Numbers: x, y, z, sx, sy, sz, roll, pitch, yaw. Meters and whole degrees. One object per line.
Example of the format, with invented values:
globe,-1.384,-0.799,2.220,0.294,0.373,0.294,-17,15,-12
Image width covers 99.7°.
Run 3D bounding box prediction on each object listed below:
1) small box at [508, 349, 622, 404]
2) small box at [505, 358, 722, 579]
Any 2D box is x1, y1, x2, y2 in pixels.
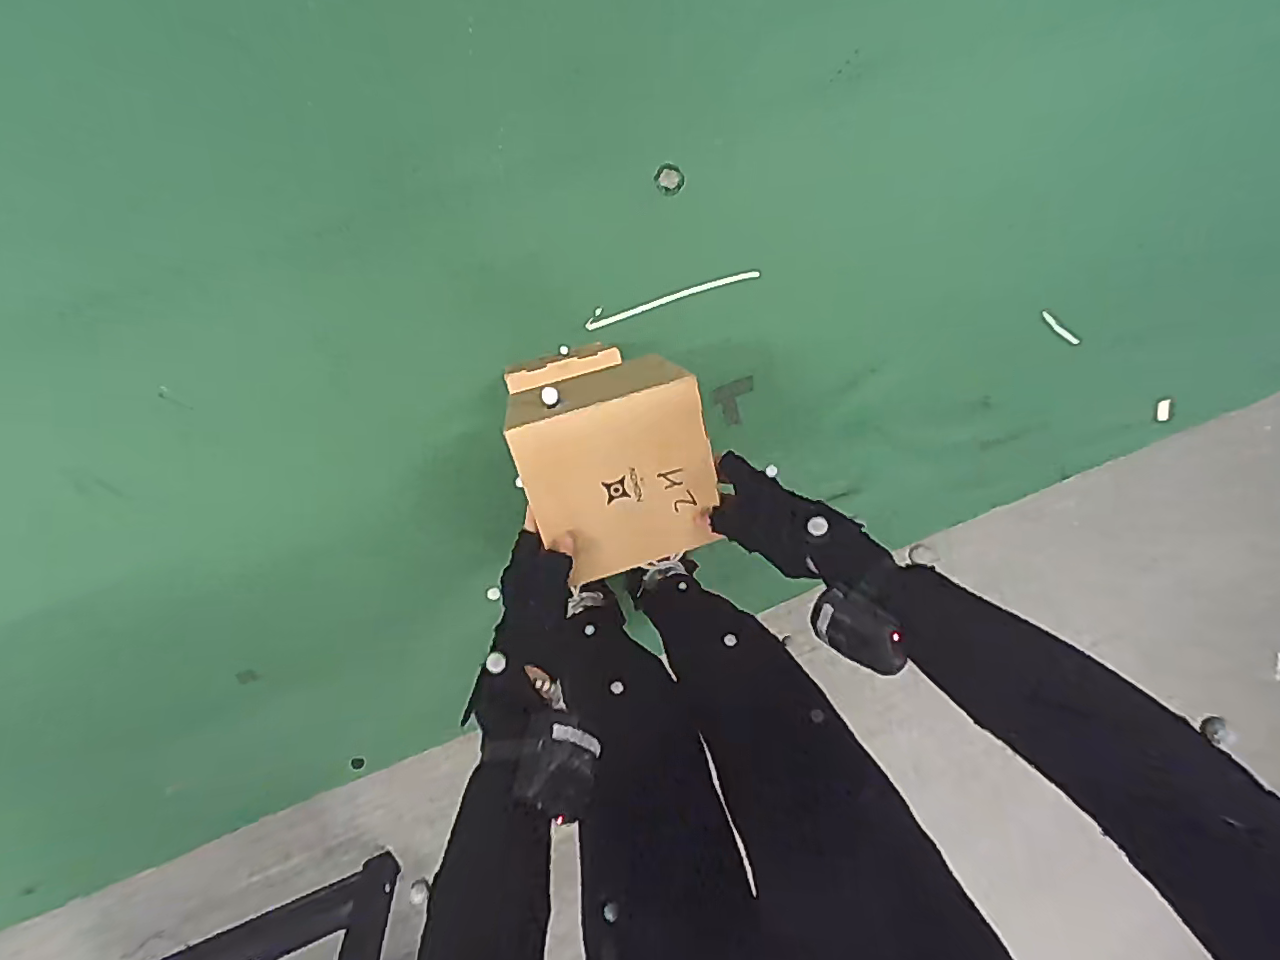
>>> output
small box,-0.103,-0.104,0.862,0.168,0.176,0.179,-16,107,-7
small box,-0.032,-0.024,0.578,0.179,0.176,0.168,-17,111,-6
